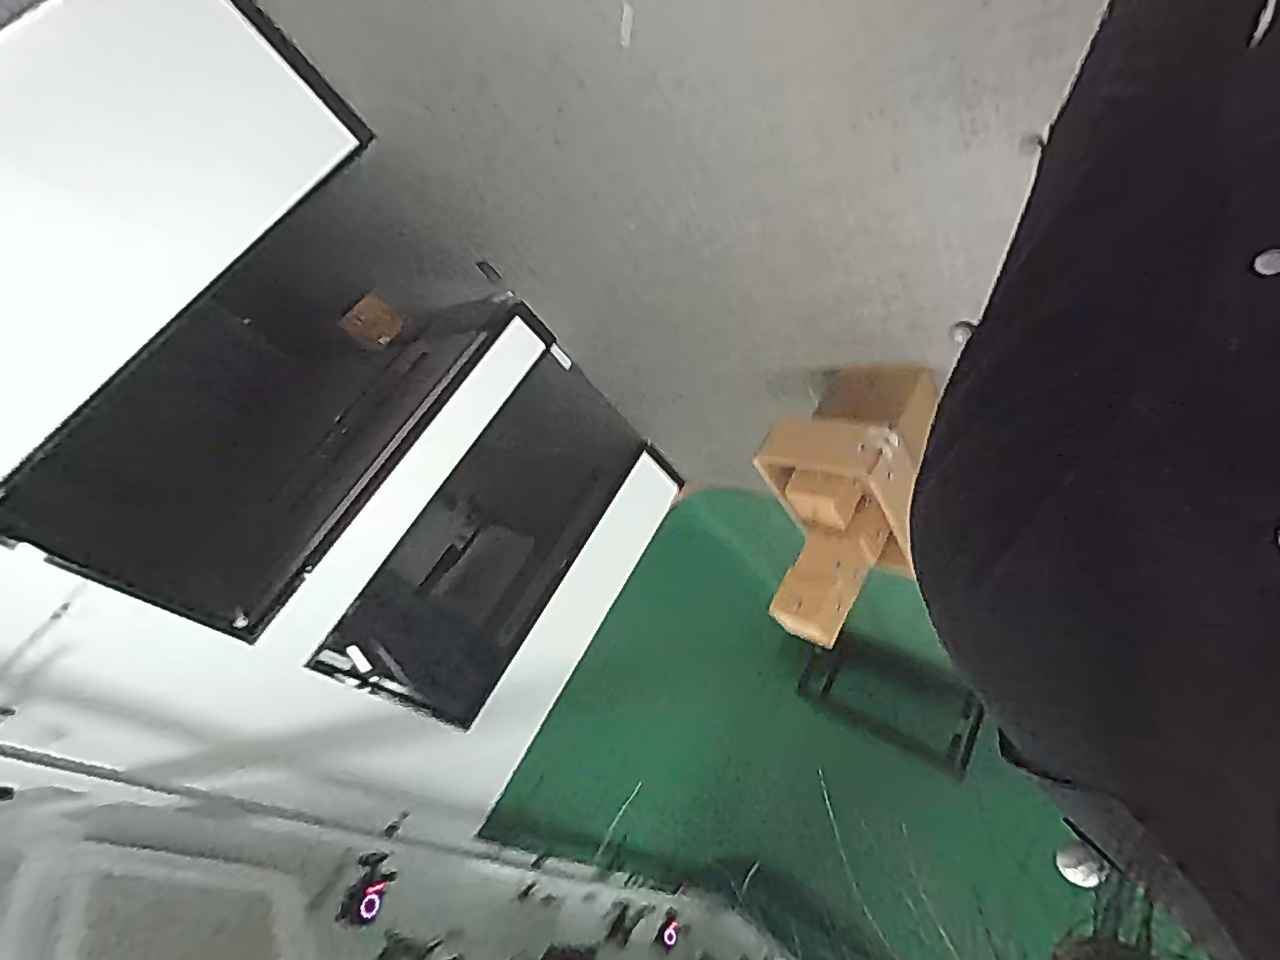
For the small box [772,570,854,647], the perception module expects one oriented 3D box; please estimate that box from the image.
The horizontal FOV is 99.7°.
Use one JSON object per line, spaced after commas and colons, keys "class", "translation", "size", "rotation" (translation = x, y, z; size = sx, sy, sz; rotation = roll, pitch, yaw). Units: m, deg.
{"class": "small box", "translation": [0.579, 0.420, 1.800], "size": [0.179, 0.176, 0.168], "rotation": [11, 152, 49]}
